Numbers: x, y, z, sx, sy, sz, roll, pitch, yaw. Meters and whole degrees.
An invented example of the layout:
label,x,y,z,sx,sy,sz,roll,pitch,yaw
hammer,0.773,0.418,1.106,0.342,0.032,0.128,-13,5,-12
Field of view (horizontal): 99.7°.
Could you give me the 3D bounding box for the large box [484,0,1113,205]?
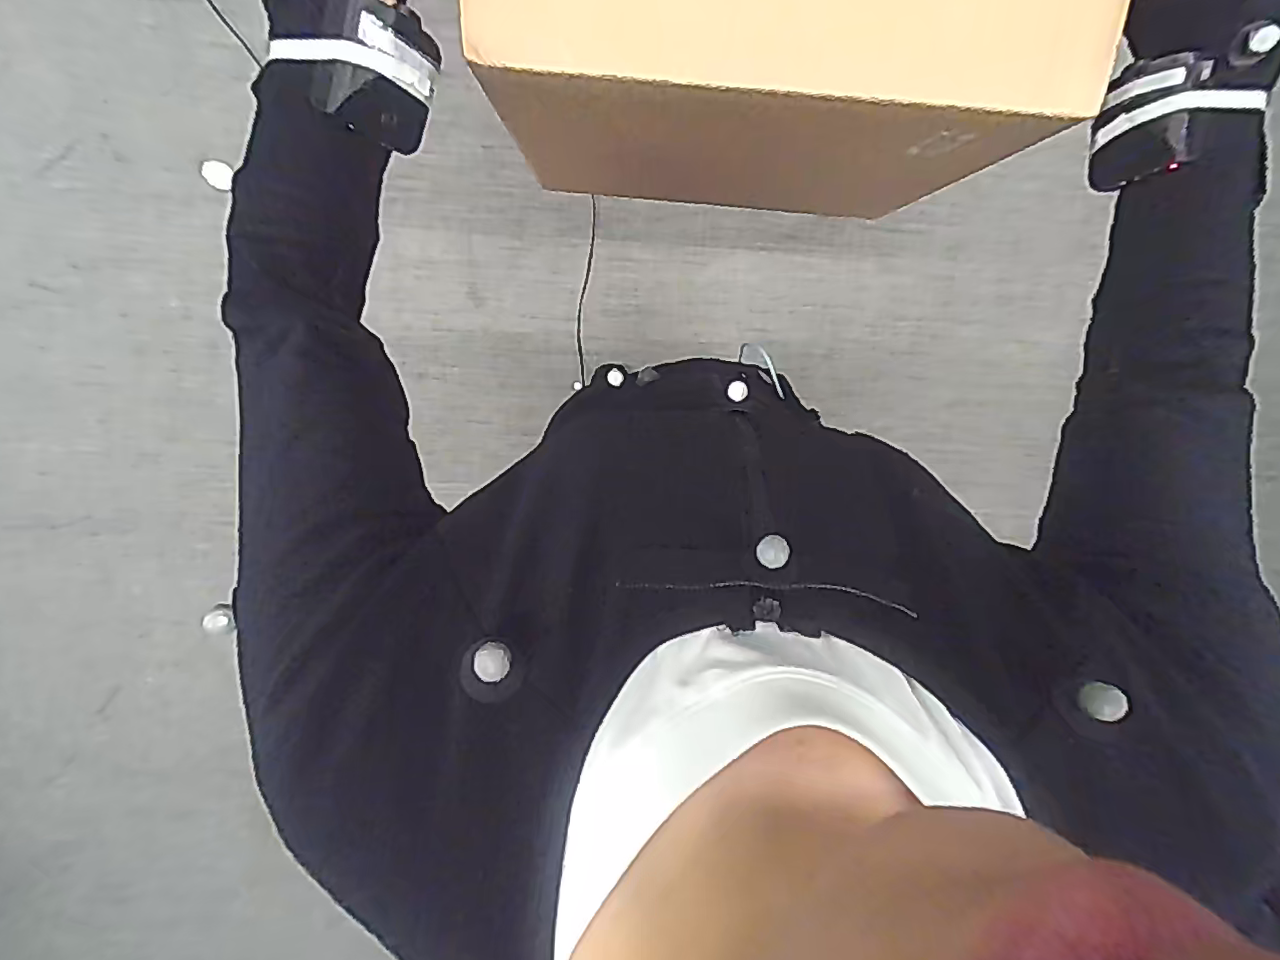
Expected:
label,x,y,z,sx,sy,sz,roll,pitch,yaw
large box,0.099,-0.442,0.452,0.408,0.320,0.320,3,105,-3
